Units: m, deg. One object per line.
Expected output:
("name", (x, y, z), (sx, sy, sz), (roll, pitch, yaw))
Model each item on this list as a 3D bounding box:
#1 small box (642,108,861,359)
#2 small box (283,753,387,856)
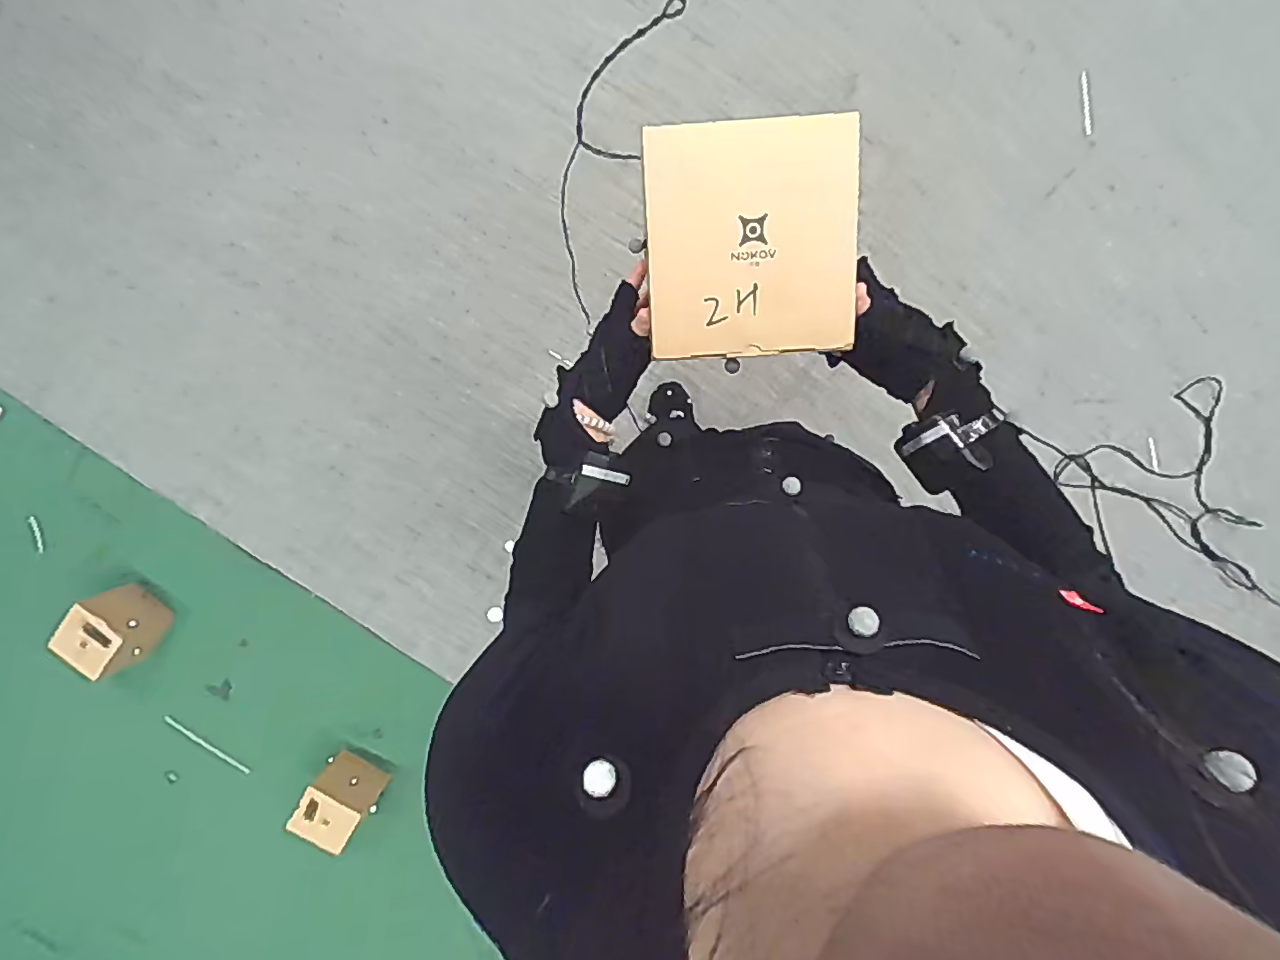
("small box", (0.087, -0.204, 0.496), (0.168, 0.176, 0.179), (-2, 103, 2))
("small box", (-0.904, 0.956, 1.615), (0.179, 0.176, 0.168), (32, 100, -3))
